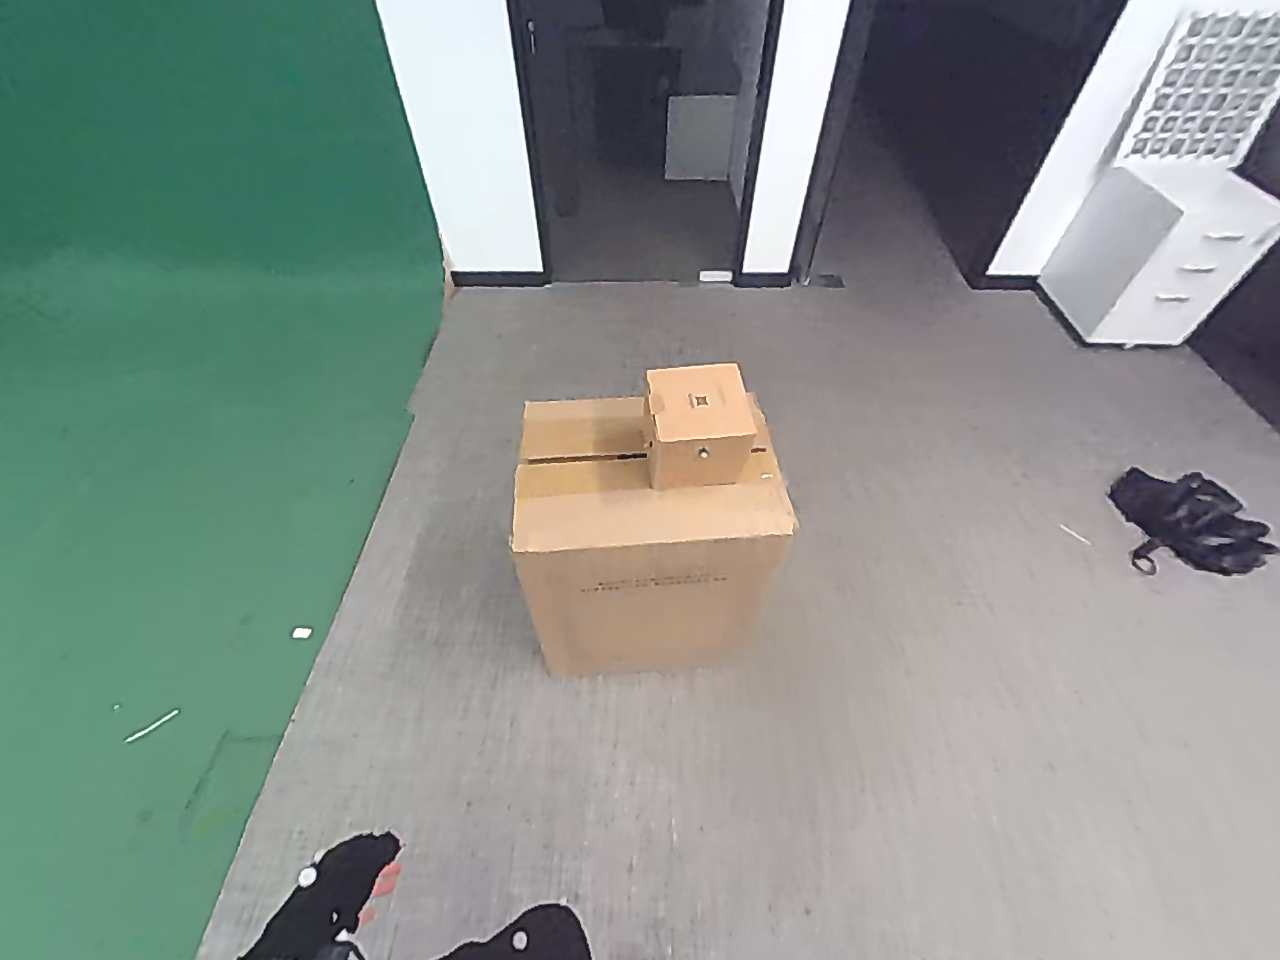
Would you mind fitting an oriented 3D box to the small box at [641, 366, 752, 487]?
[{"bbox_3d":[0.098,-0.097,1.039,0.179,0.176,0.168,-5,60,-7],"label":"small box"}]
